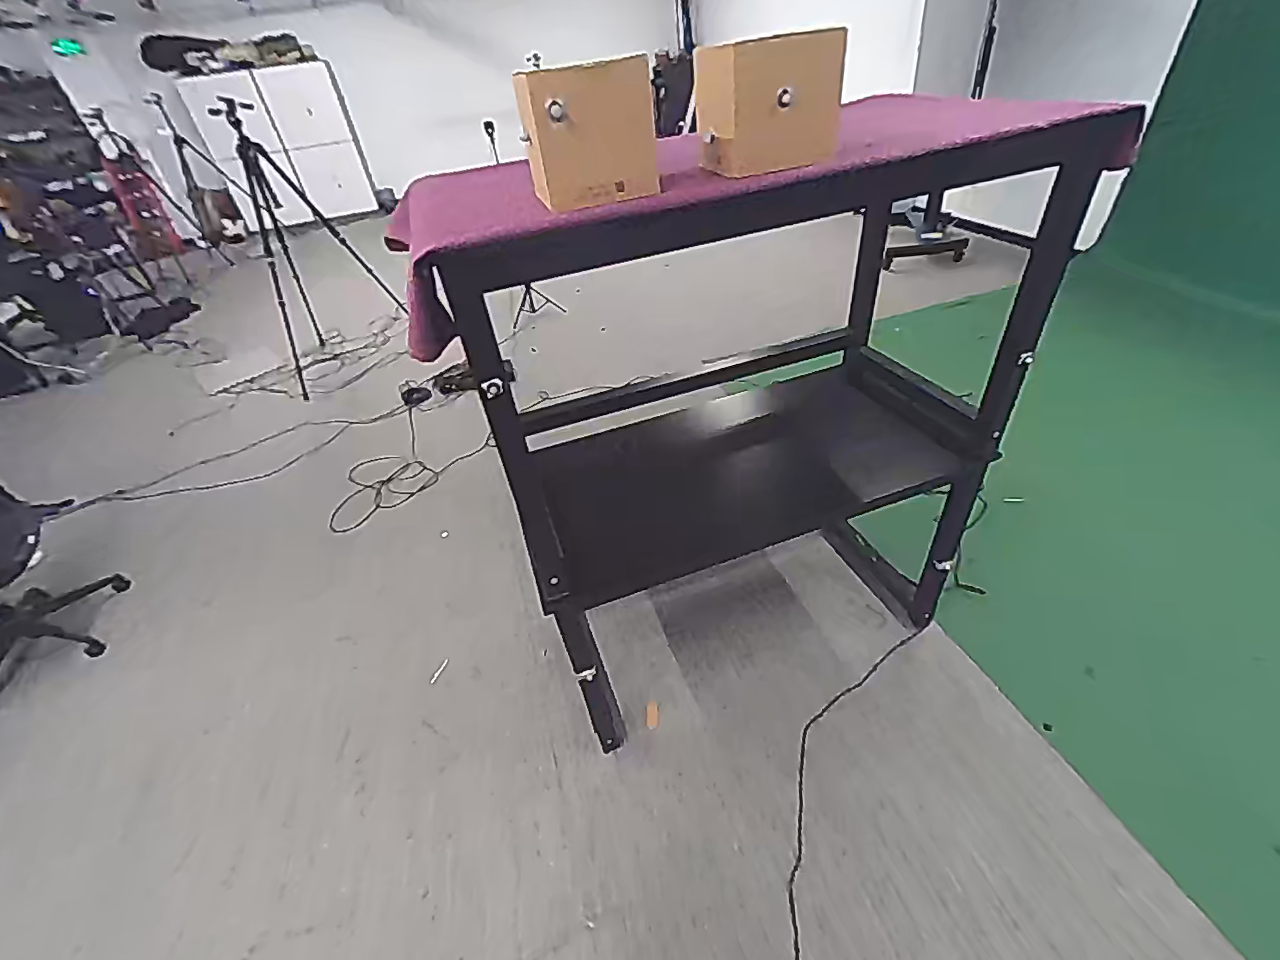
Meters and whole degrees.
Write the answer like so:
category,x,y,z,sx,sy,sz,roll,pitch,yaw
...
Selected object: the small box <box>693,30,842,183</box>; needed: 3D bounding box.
category,x,y,z,sx,sy,sz,roll,pitch,yaw
small box,0.194,-0.593,0.861,0.179,0.176,0.168,-15,38,-6
